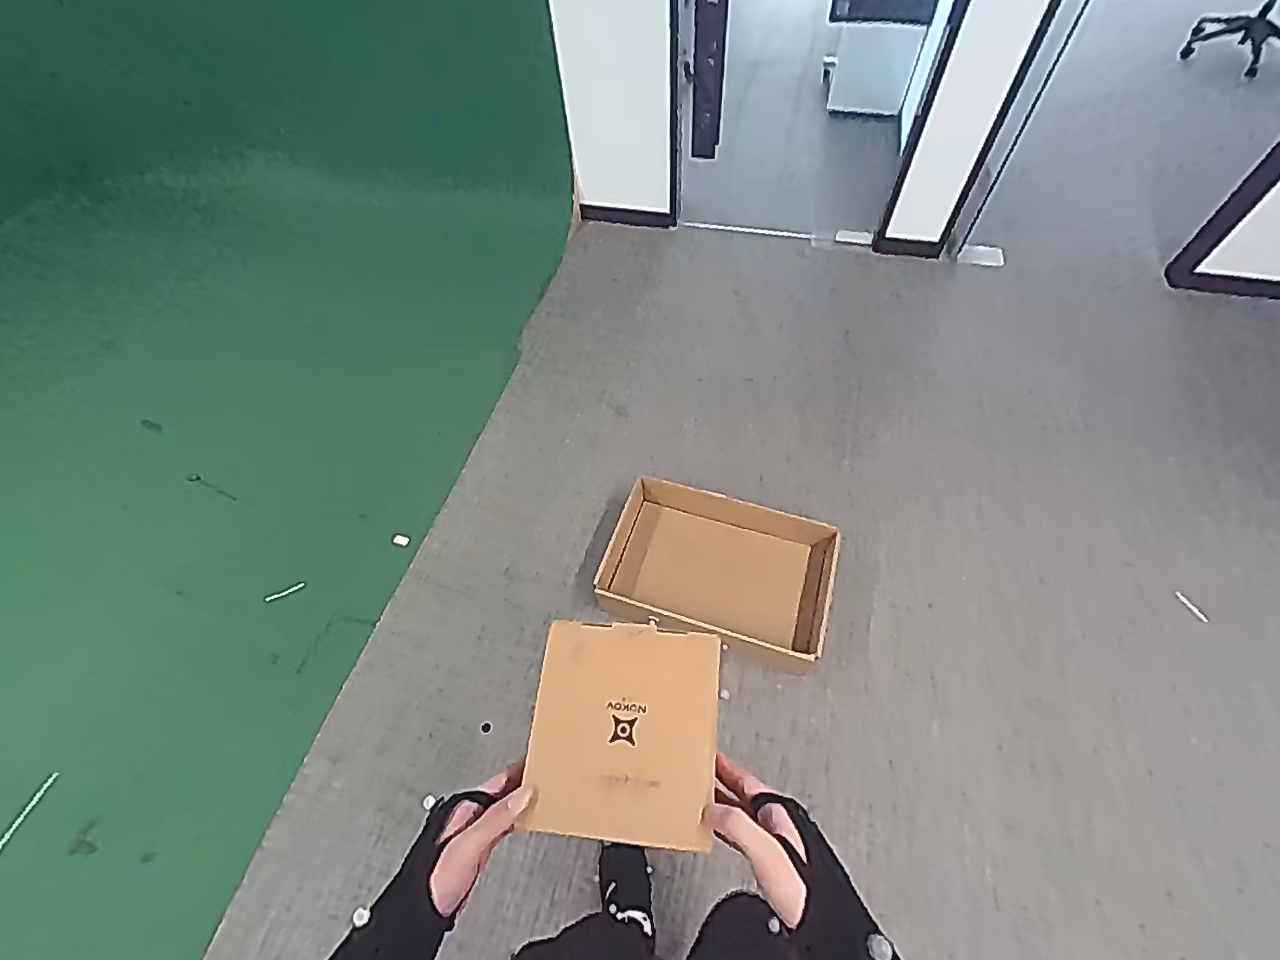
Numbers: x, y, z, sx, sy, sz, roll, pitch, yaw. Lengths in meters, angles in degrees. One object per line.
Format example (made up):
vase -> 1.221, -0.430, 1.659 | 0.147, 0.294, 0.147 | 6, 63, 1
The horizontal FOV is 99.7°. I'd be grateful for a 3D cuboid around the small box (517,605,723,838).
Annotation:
small box -> -0.009, 0.242, 0.549 | 0.168, 0.176, 0.179 | 4, 62, 6
